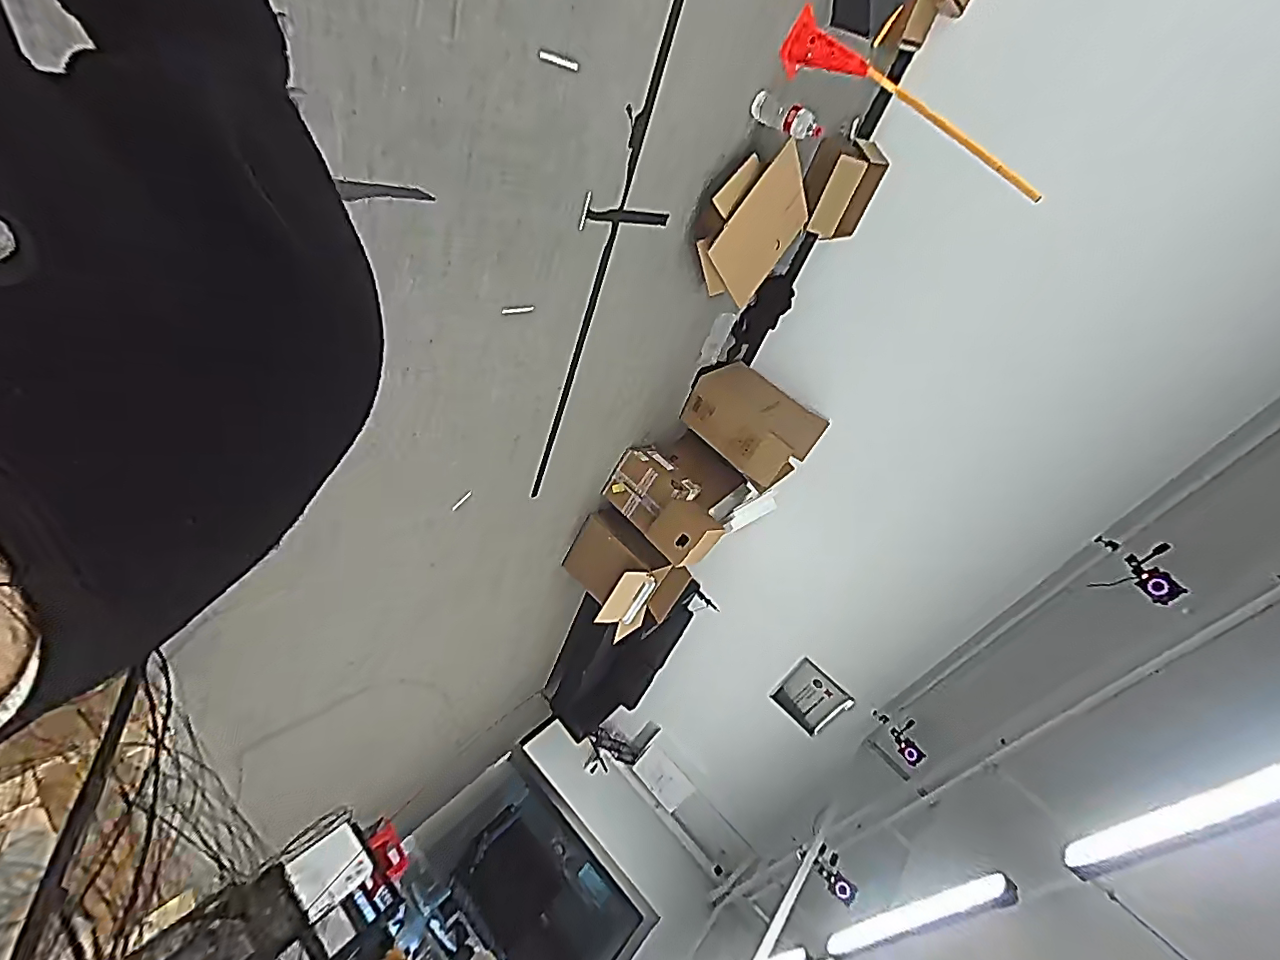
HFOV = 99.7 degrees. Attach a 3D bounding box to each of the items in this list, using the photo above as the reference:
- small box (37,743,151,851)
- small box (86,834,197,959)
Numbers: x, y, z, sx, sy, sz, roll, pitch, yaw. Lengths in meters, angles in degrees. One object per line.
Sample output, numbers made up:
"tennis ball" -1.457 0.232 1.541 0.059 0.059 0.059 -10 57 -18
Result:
"small box" -1.551 0.894 1.540 0.179 0.176 0.168 -26 148 -45
"small box" -1.315 1.095 1.427 0.179 0.176 0.168 -24 148 -49
